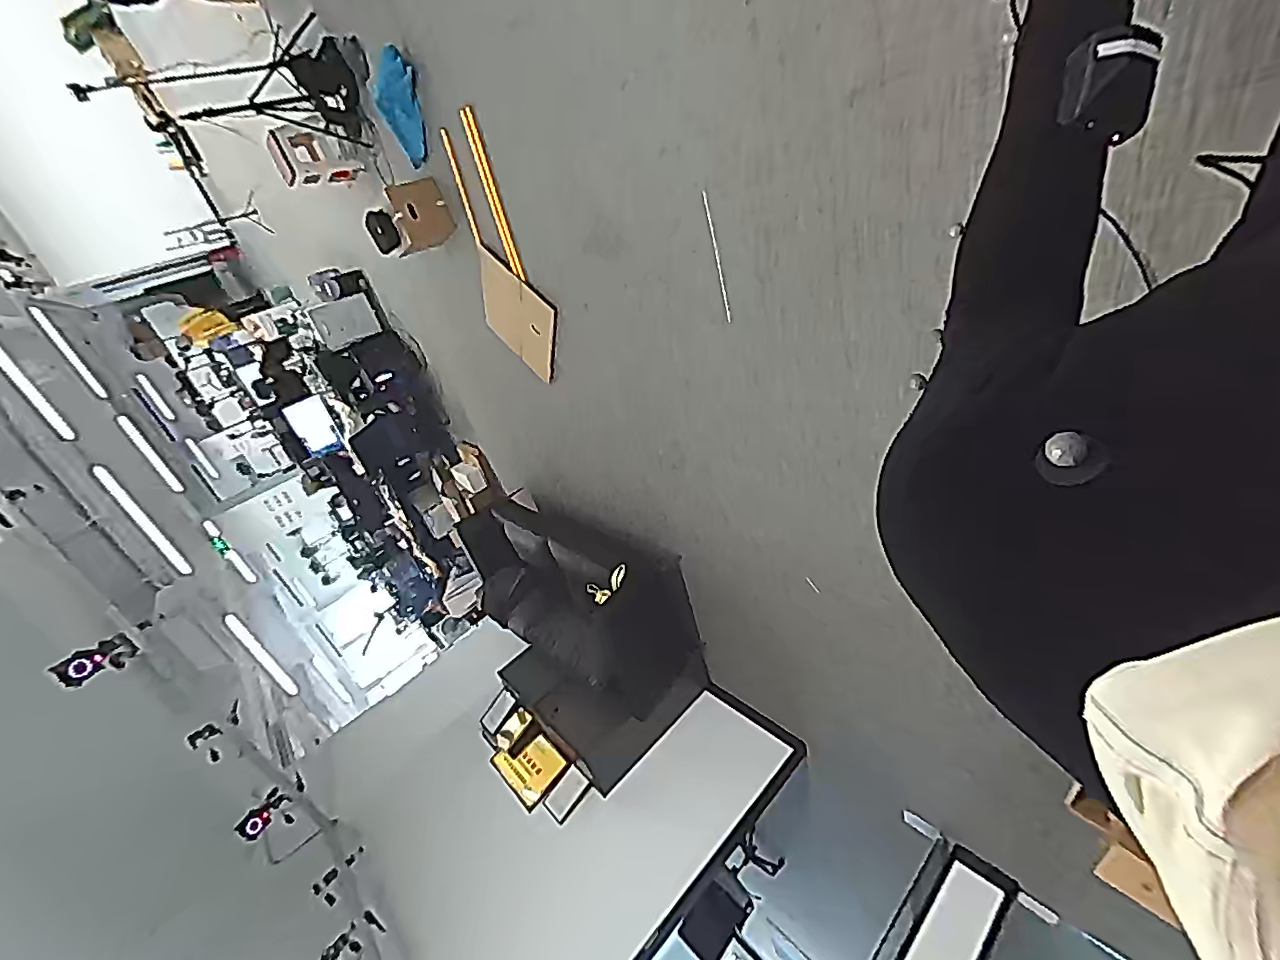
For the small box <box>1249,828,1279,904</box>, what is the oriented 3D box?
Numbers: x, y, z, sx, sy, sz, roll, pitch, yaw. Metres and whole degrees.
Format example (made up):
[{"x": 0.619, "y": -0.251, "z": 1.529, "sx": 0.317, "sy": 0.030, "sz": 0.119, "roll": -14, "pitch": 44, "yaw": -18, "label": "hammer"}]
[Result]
[{"x": 1.502, "y": 0.896, "z": 1.178, "sx": 0.179, "sy": 0.176, "sz": 0.168, "roll": 27, "pitch": 141, "yaw": 41, "label": "small box"}]

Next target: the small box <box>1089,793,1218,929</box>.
[{"x": 1.200, "y": 0.882, "z": 1.264, "sx": 0.168, "sy": 0.176, "sz": 0.179, "roll": 26, "pitch": 141, "yaw": 42, "label": "small box"}]

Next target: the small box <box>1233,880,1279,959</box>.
[{"x": 1.378, "y": 0.973, "z": 1.103, "sx": 0.168, "sy": 0.176, "sz": 0.179, "roll": 26, "pitch": 140, "yaw": 42, "label": "small box"}]
